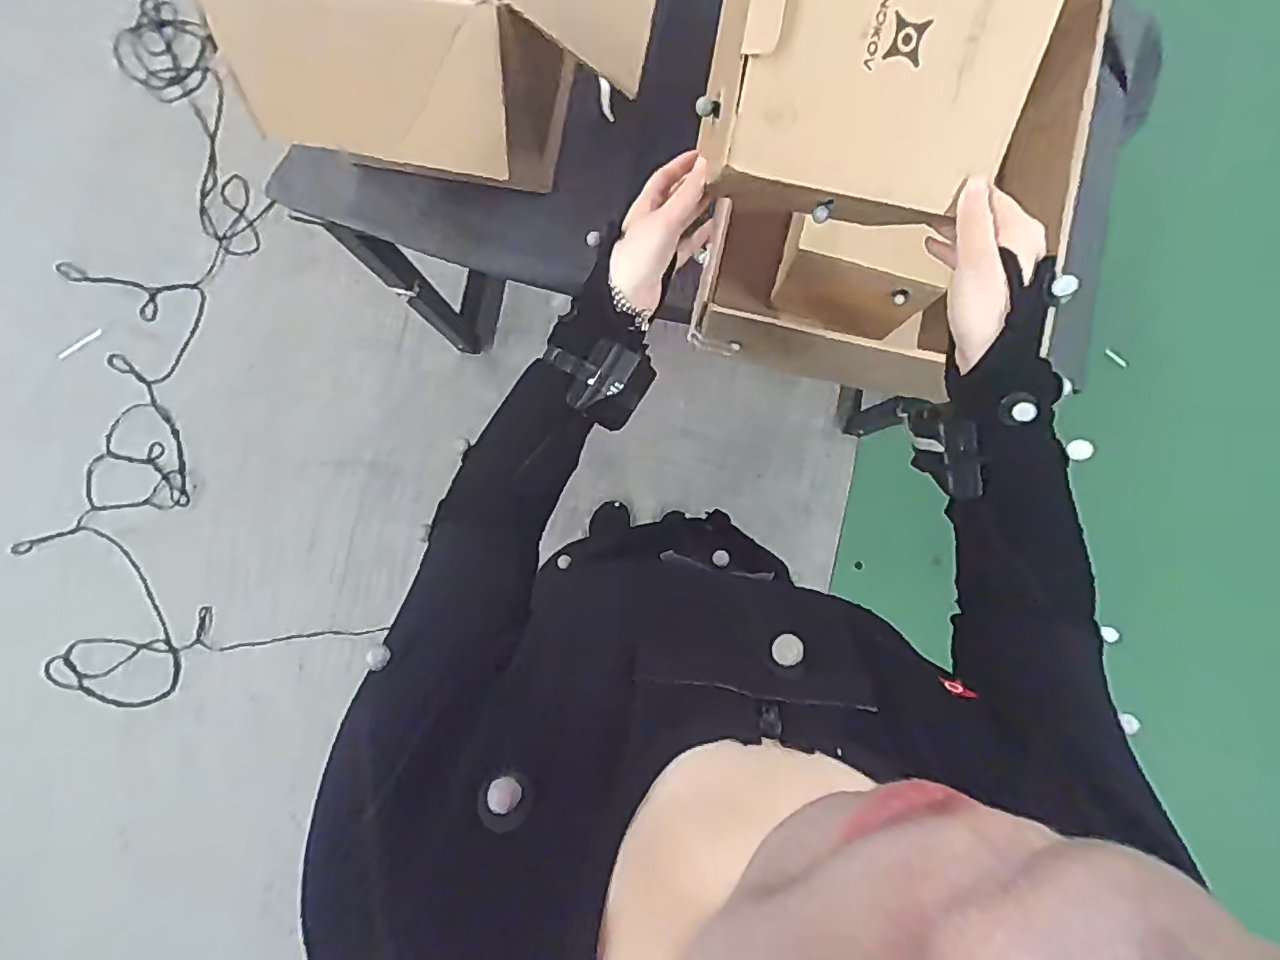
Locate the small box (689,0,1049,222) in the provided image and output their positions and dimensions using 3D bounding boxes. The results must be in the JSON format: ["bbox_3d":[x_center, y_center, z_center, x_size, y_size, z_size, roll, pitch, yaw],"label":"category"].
[{"bbox_3d":[0.140,-0.288,0.388,0.179,0.176,0.168,6,116,-7],"label":"small box"}]
